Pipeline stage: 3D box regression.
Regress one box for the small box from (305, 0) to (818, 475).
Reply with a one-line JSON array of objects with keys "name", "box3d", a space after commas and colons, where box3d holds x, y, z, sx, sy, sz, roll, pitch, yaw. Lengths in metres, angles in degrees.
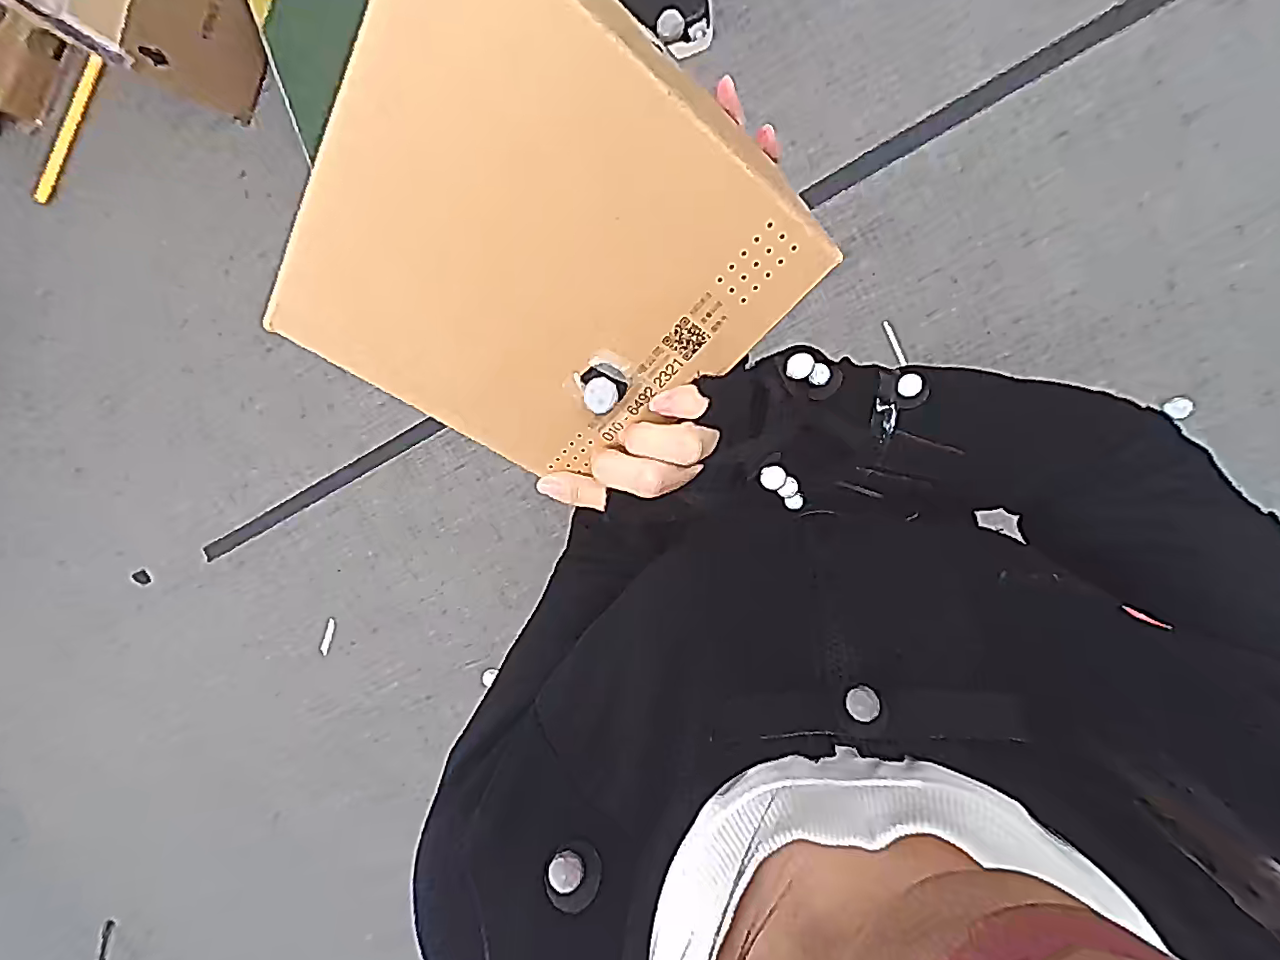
[{"name": "small box", "box3d": [-0.033, -0.135, 0.293, 0.176, 0.179, 0.168, 31, 126, -23]}]
